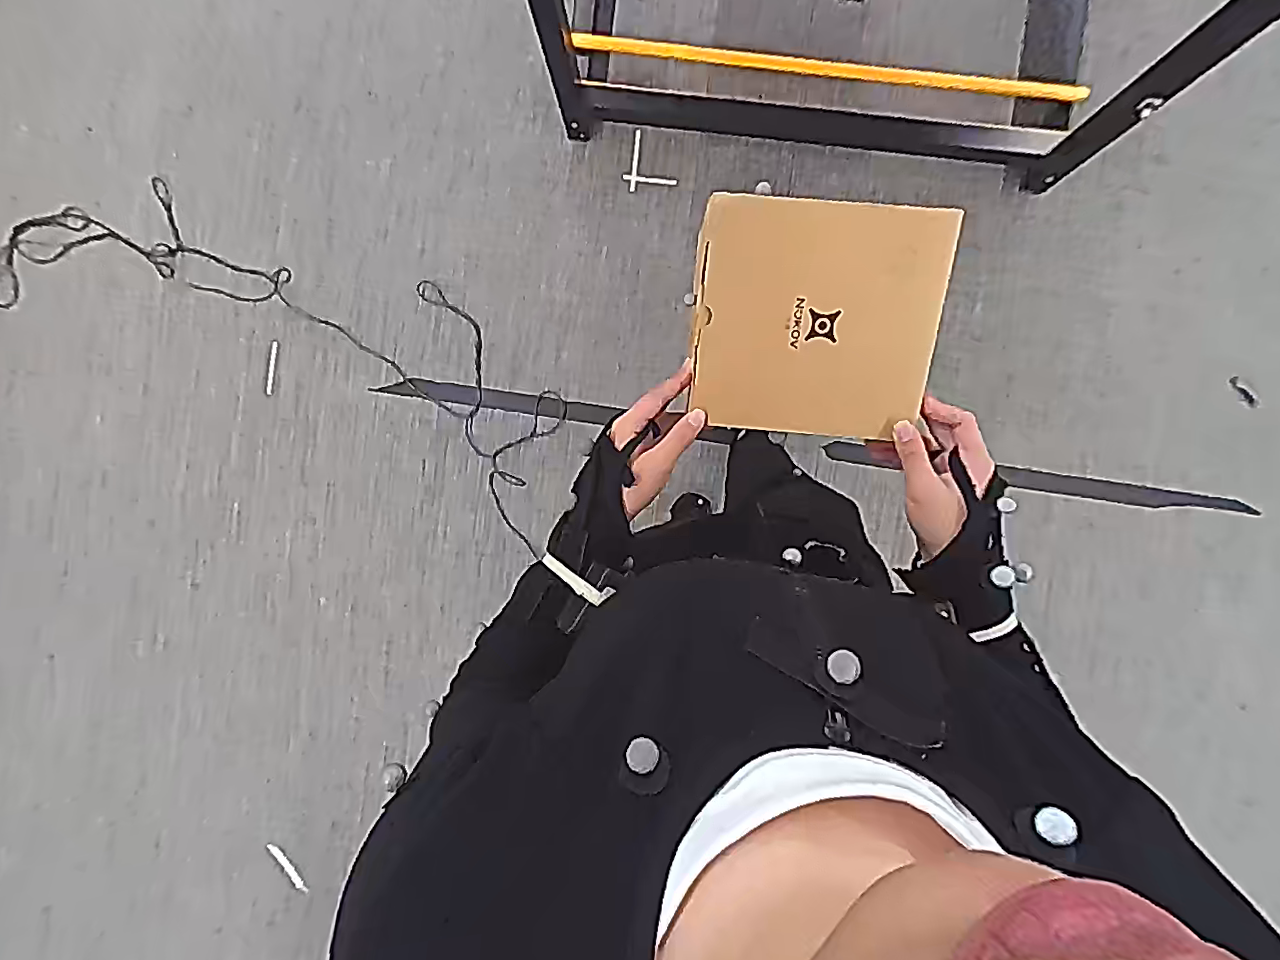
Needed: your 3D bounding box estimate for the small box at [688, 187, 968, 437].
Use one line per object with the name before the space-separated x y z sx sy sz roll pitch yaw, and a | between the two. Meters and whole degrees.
small box | 0.137 -0.141 0.469 0.179 0.176 0.168 5 107 3
